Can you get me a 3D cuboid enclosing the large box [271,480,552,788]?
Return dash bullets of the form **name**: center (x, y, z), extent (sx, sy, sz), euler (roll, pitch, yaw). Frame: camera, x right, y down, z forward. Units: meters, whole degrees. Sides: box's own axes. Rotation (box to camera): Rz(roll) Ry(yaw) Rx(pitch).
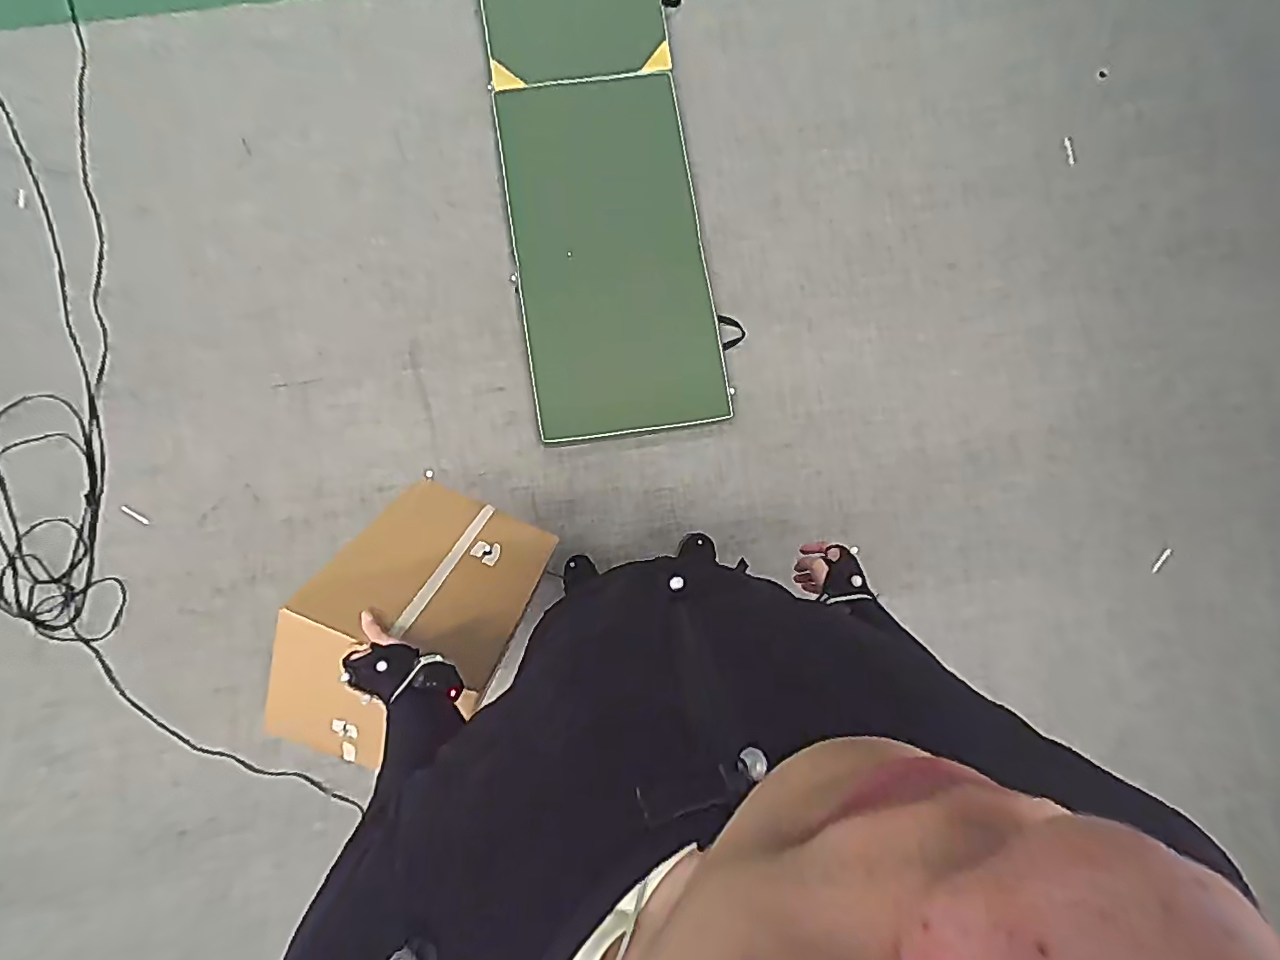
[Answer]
- **large box**: center (-0.404, 0.269, 1.018), extent (0.320, 0.408, 0.320), euler (26, 118, -5)
